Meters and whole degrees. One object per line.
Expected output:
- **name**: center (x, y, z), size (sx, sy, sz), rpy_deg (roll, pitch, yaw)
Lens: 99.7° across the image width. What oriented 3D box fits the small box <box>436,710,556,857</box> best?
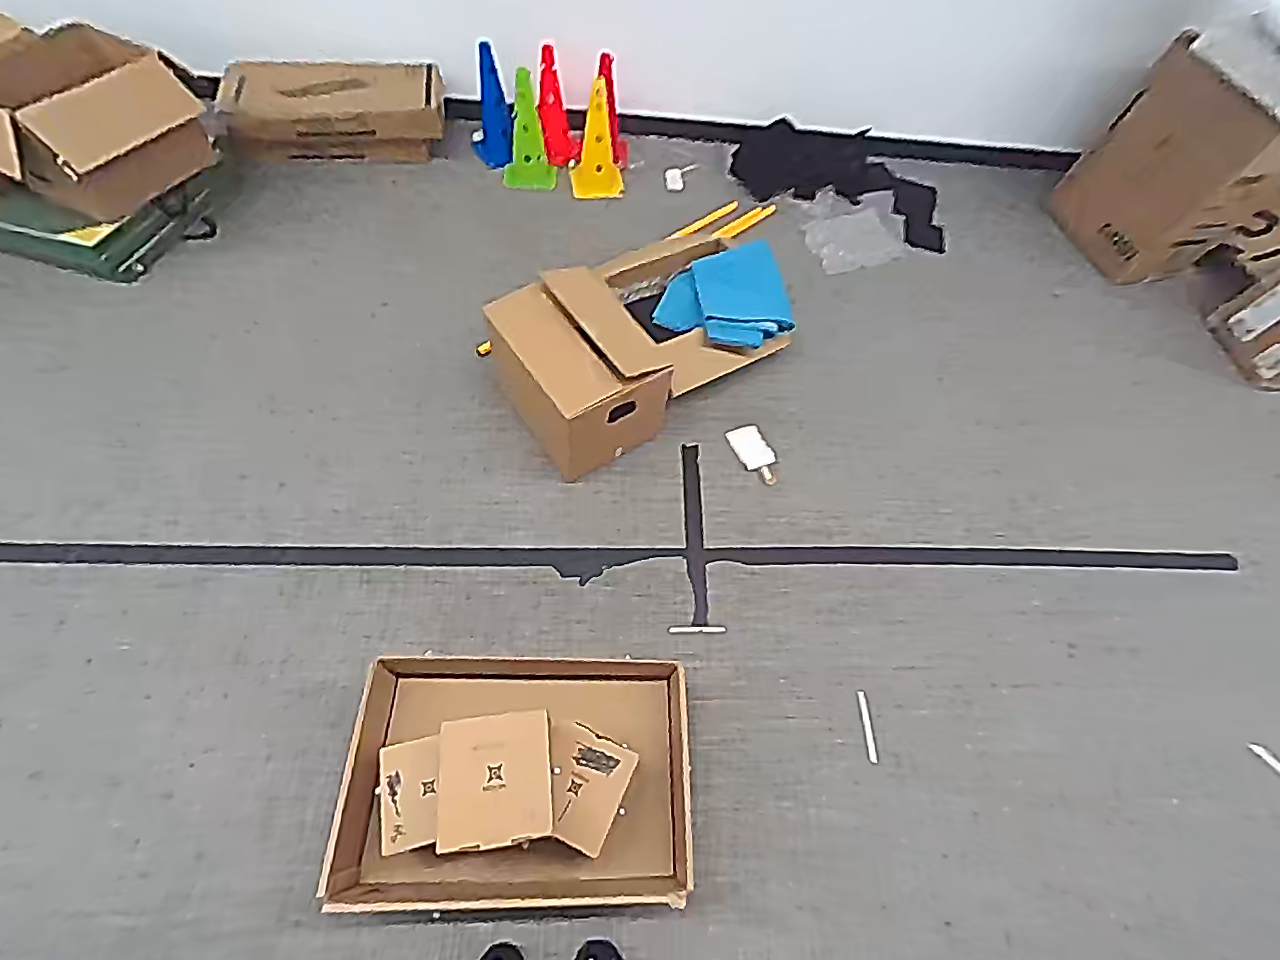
- **small box**: center (-0.225, 0.485, 0.876), size (0.168, 0.176, 0.179), rpy_deg (-4, 60, -10)
